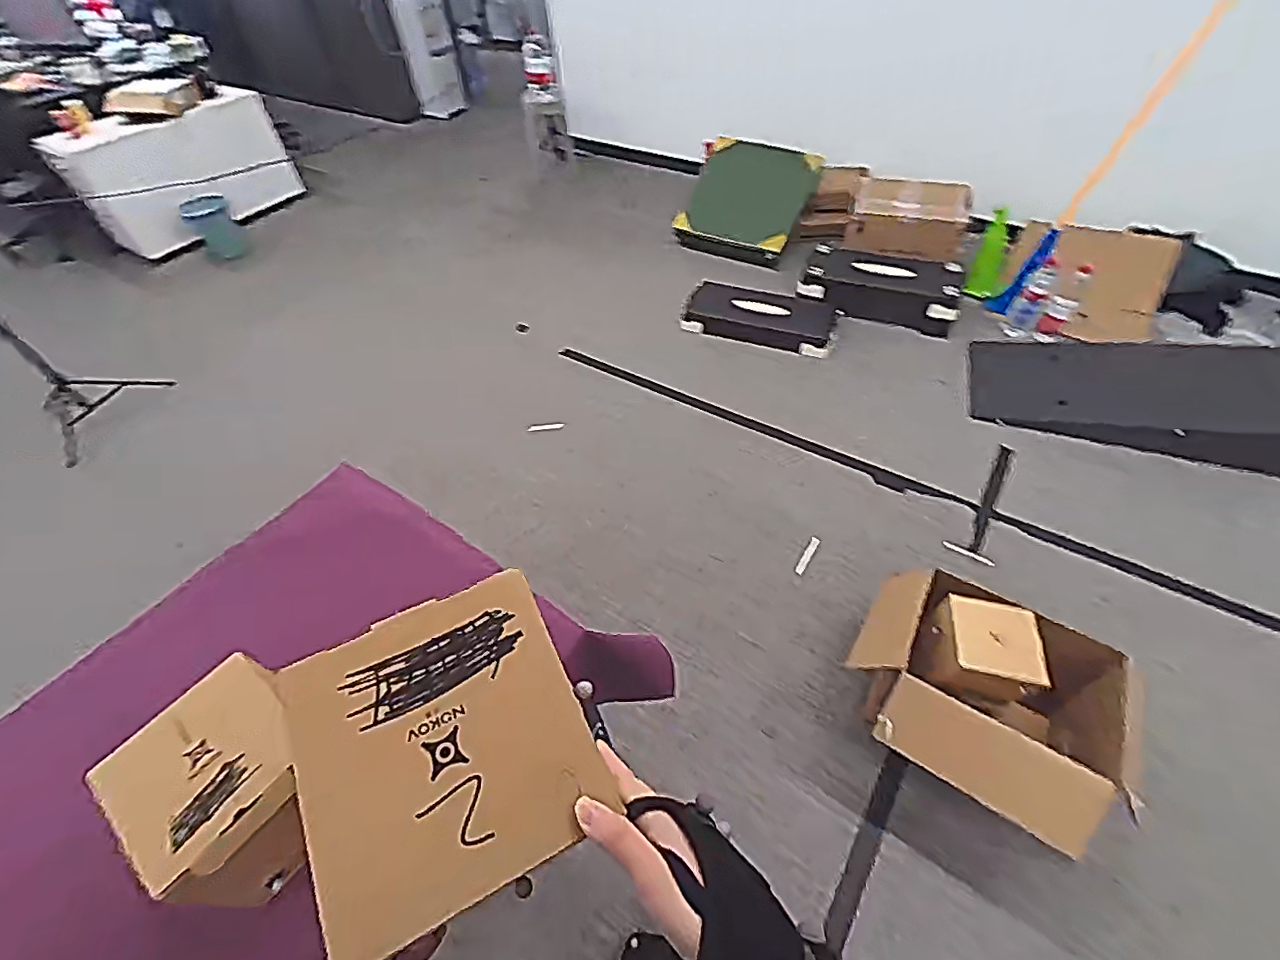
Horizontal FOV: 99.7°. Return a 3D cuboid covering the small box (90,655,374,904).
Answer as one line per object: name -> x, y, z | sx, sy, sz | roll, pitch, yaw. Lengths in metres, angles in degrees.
small box -> -0.449, 0.343, 0.623 | 0.179, 0.176, 0.168 | 28, 57, 26

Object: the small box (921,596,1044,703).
small box -> 0.757, 0.386, 1.221 | 0.179, 0.176, 0.168 | 10, 54, 7
